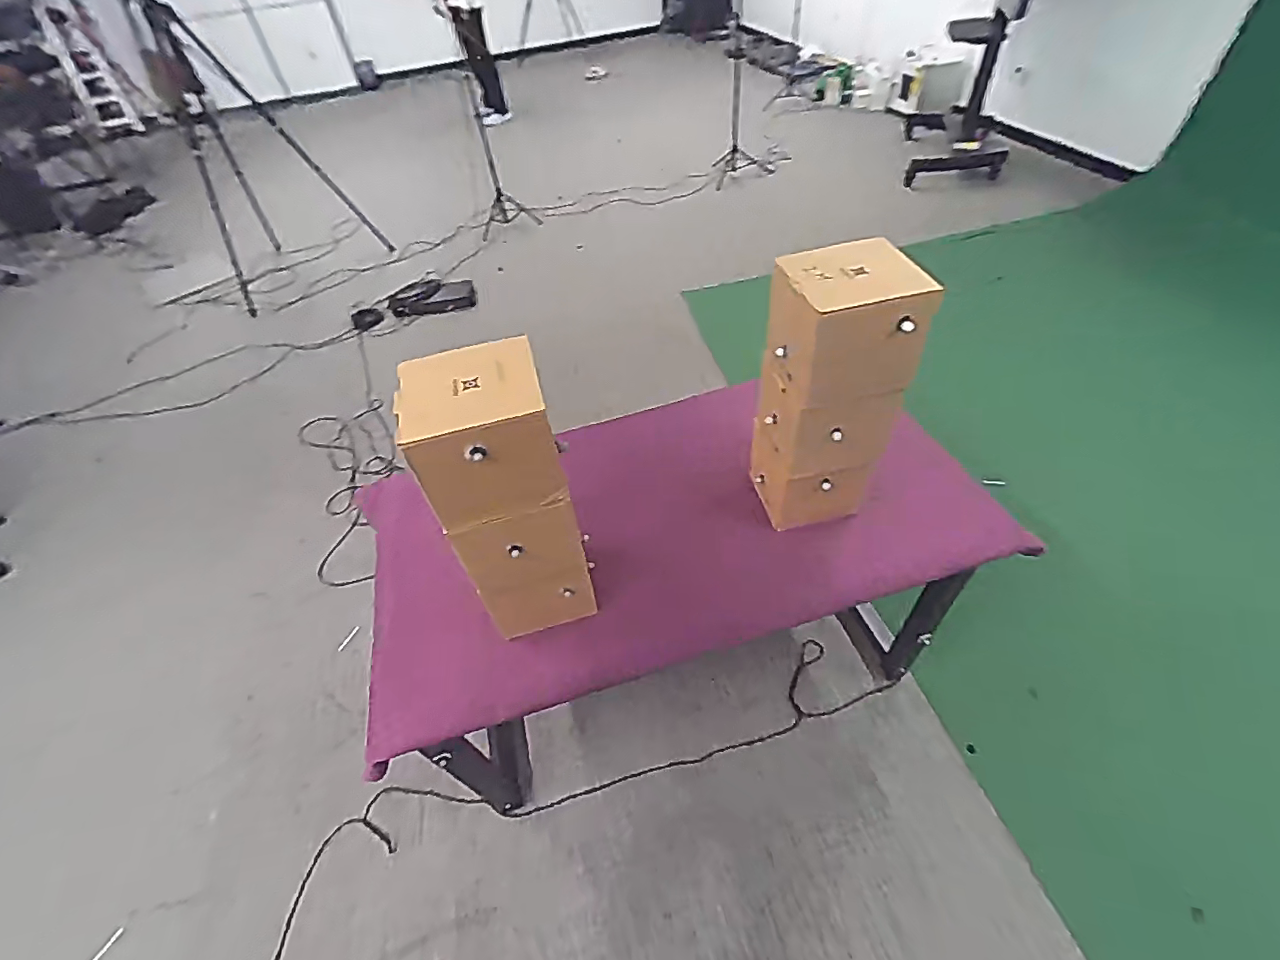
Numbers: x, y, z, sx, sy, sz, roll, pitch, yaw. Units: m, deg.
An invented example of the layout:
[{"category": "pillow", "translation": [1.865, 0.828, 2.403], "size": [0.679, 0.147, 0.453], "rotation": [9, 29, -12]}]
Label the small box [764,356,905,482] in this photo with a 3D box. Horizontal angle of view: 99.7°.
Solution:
[{"category": "small box", "translation": [0.324, -0.117, 0.948], "size": [0.179, 0.176, 0.168], "rotation": [-12, 49, -3]}]

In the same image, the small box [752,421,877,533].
[{"category": "small box", "translation": [0.335, -0.017, 1.077], "size": [0.179, 0.176, 0.168], "rotation": [-12, 49, -3]}]

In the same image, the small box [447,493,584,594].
[{"category": "small box", "translation": [-0.191, 0.052, 0.845], "size": [0.179, 0.176, 0.168], "rotation": [-15, 48, -7]}]

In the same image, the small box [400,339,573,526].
[{"category": "small box", "translation": [-0.199, -0.060, 0.726], "size": [0.179, 0.176, 0.168], "rotation": [-13, 49, -8]}]

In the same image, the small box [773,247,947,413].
[{"category": "small box", "translation": [0.316, -0.225, 0.822], "size": [0.179, 0.176, 0.168], "rotation": [-12, 48, -3]}]
